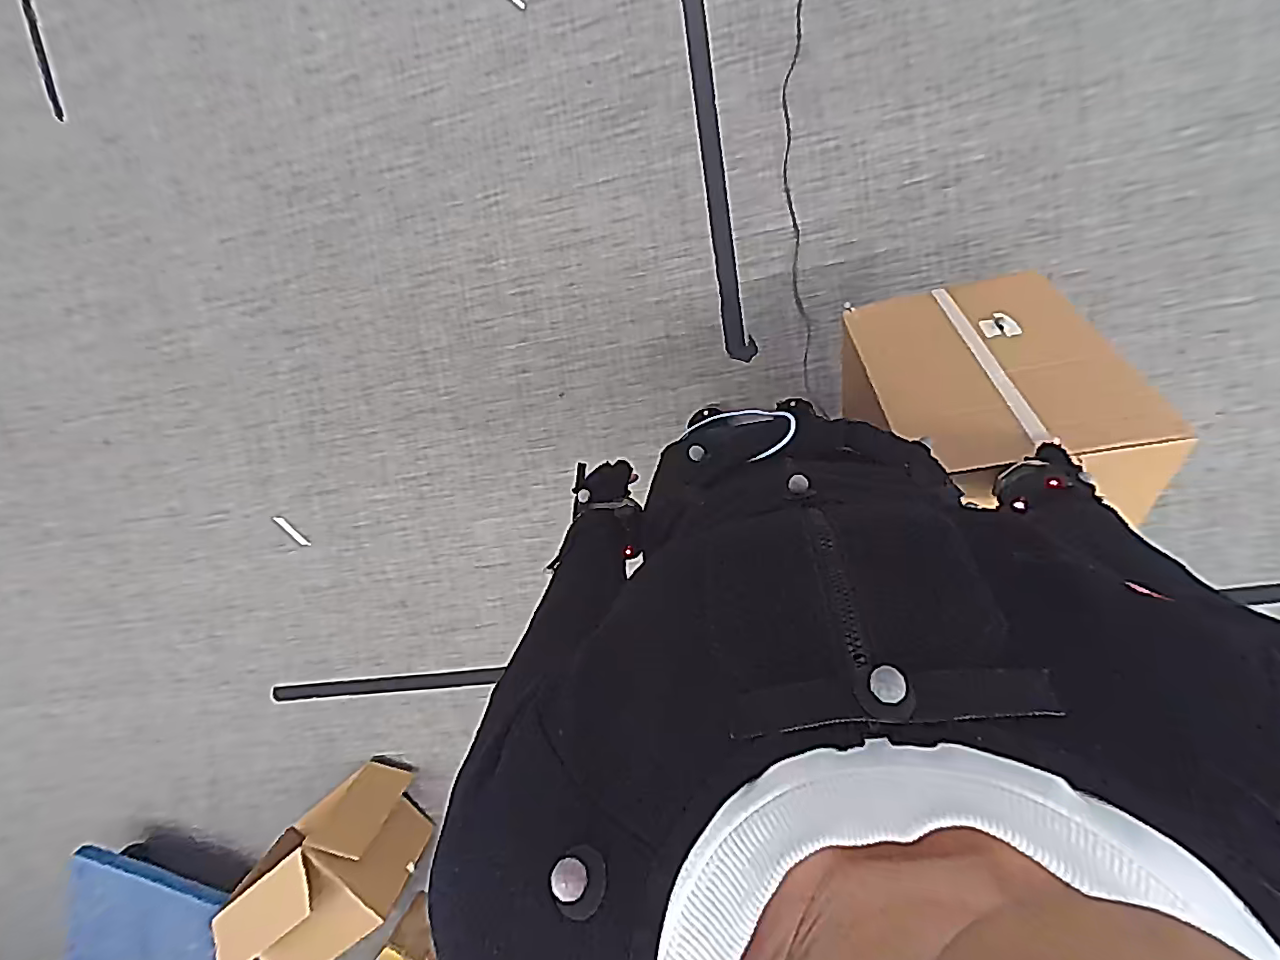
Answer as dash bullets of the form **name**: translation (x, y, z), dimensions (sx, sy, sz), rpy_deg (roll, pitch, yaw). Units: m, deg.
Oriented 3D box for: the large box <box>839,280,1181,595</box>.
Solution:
- **large box**: translation (0.544, -0.070, 0.913), dimensions (0.320, 0.408, 0.320), rpy_deg (-9, 136, 10)
